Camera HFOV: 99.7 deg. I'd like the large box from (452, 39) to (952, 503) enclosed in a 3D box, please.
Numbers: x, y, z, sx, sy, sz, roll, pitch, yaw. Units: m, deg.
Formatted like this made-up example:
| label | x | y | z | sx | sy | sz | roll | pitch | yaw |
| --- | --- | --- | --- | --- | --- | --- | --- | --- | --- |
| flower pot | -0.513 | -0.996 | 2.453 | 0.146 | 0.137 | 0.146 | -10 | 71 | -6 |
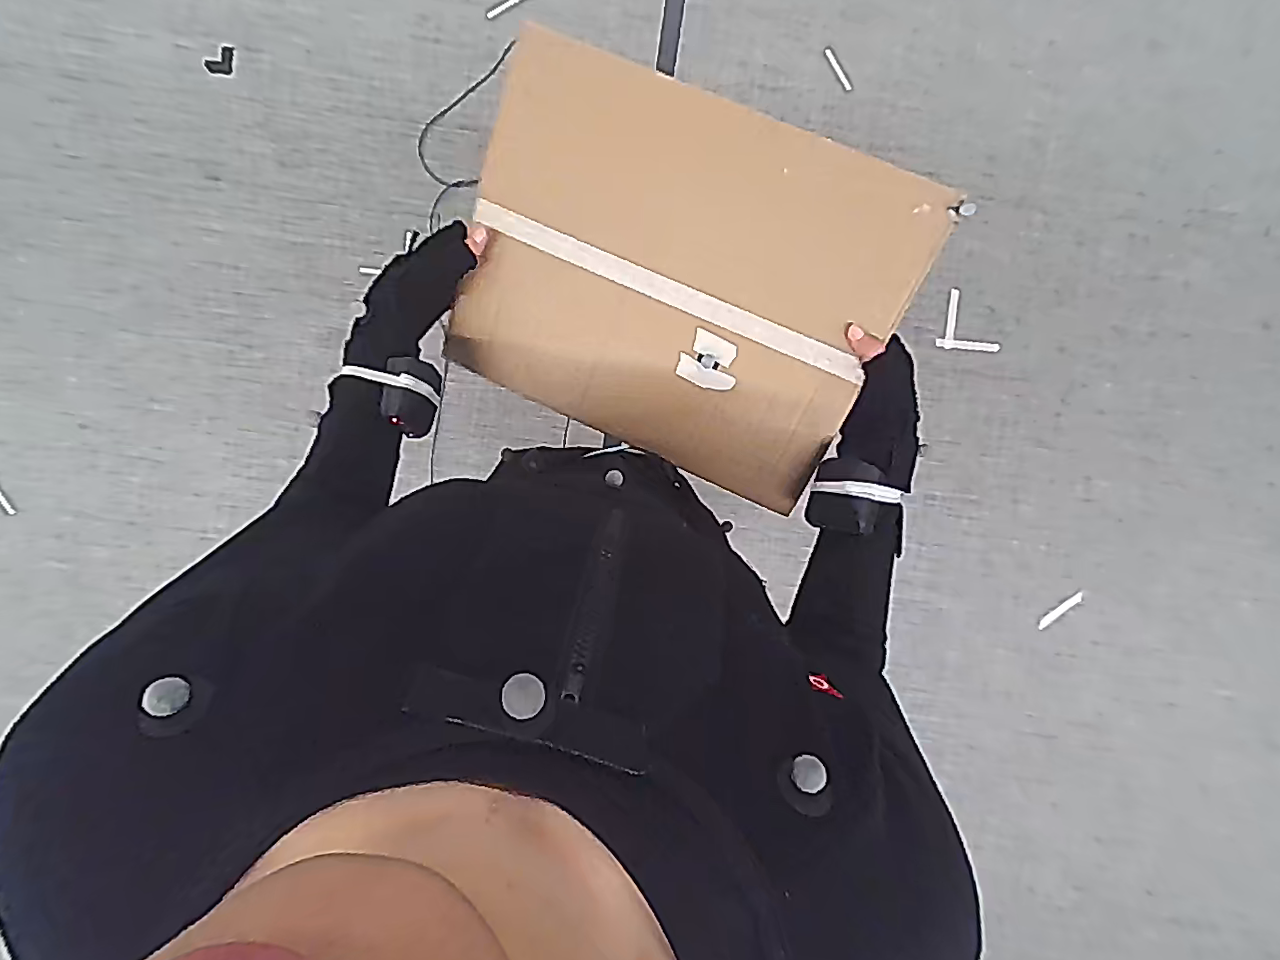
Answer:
| label | x | y | z | sx | sy | sz | roll | pitch | yaw |
| --- | --- | --- | --- | --- | --- | --- | --- | --- | --- |
| large box | 0.056 | -0.230 | 0.655 | 0.408 | 0.320 | 0.320 | 24 | 113 | 3 |
